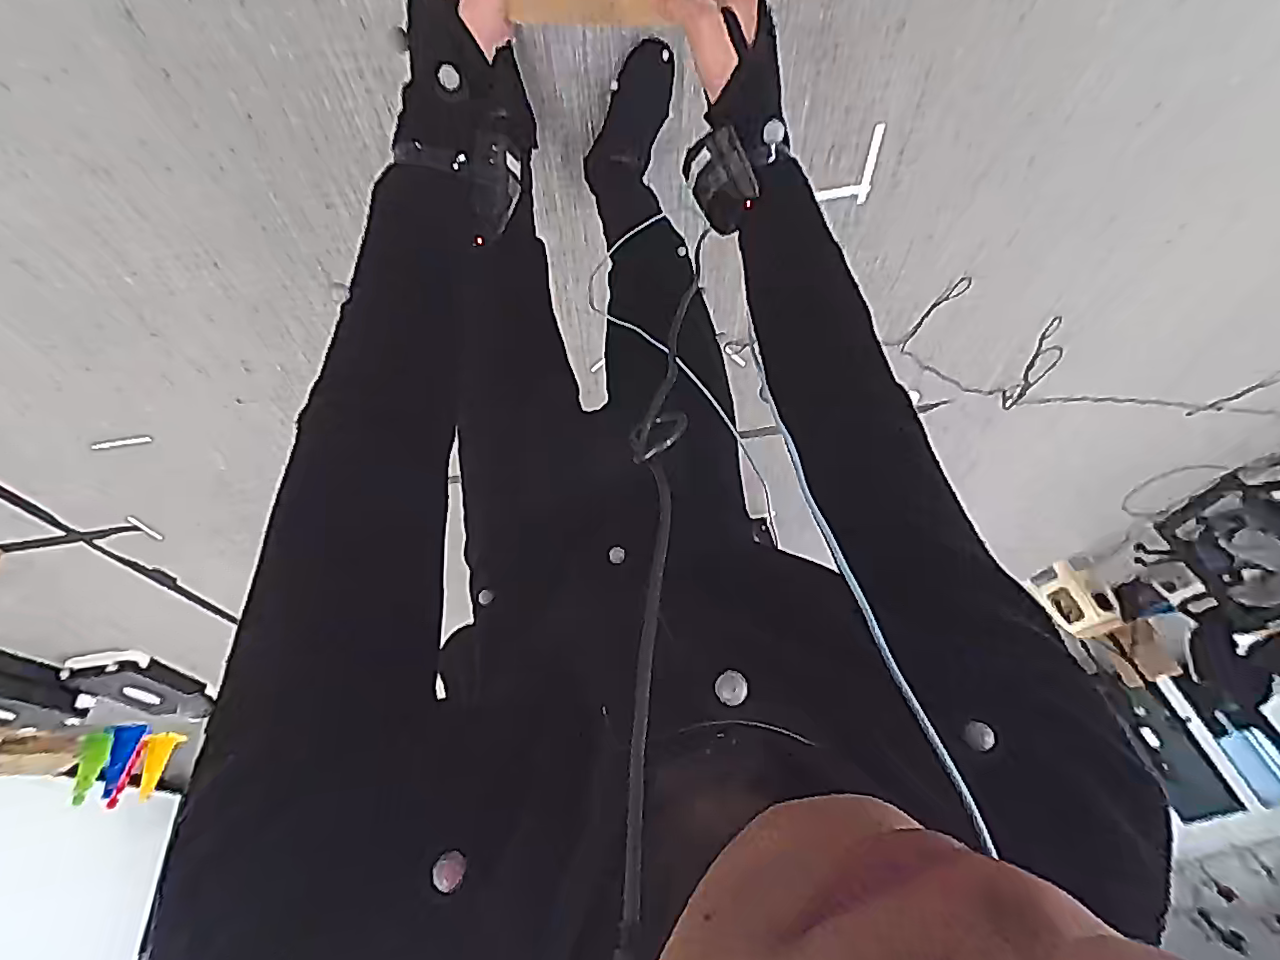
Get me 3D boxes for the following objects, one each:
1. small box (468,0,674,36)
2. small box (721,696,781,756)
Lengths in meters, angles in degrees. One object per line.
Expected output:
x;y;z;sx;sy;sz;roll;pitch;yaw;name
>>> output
-0.057;-0.481;0.409;0.168;0.176;0.179;-5;150;-8;small box
0.428;0.966;2.125;0.179;0.176;0.168;-8;145;-7;small box
